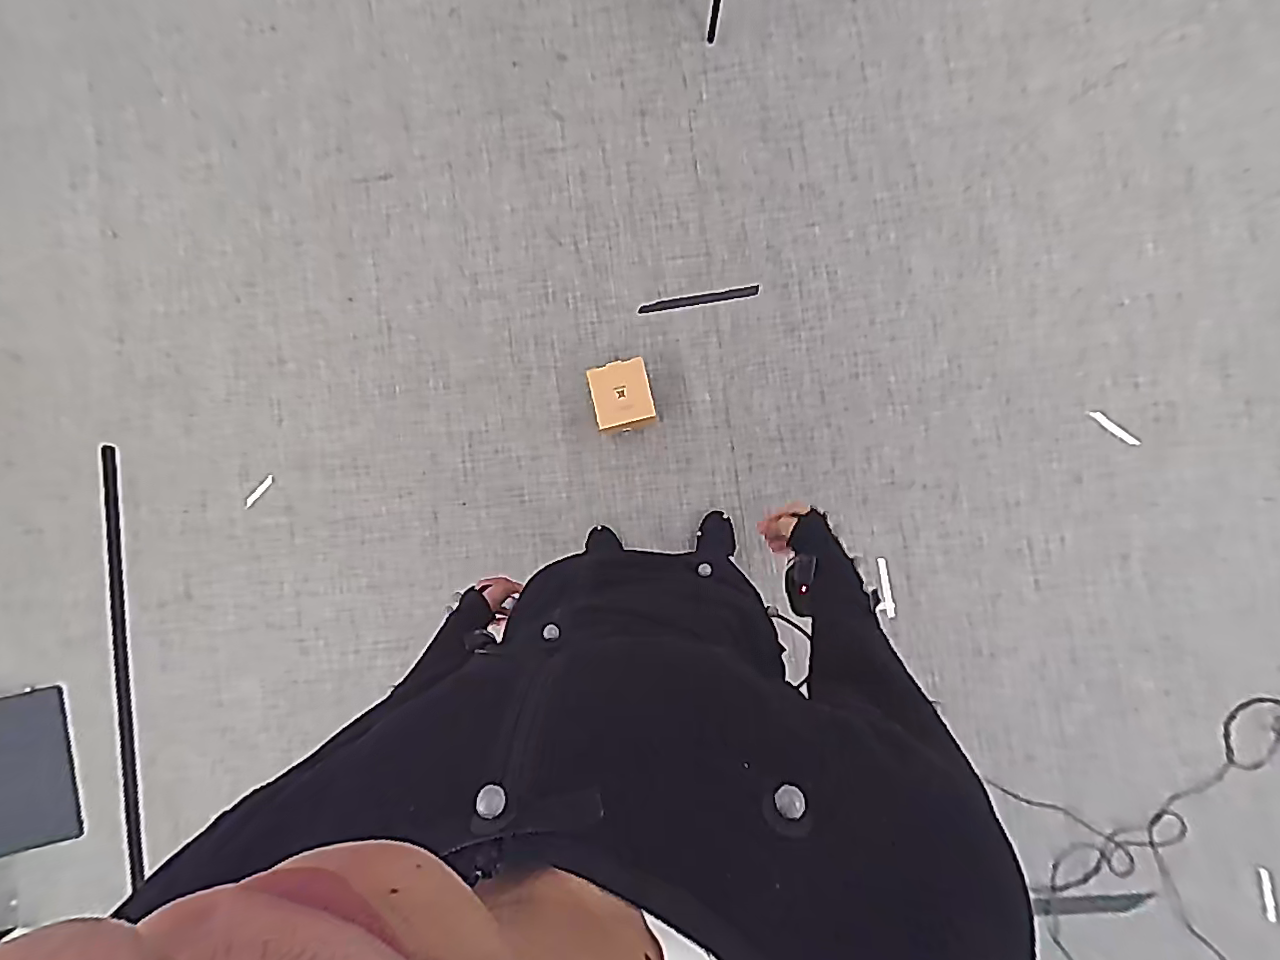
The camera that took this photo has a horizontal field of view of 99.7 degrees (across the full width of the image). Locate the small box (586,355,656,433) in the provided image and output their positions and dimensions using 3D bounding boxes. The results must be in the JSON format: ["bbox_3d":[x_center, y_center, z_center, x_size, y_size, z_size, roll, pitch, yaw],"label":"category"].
[{"bbox_3d":[-0.050,-0.248,1.589,0.168,0.176,0.179,-13,87,4],"label":"small box"}]
